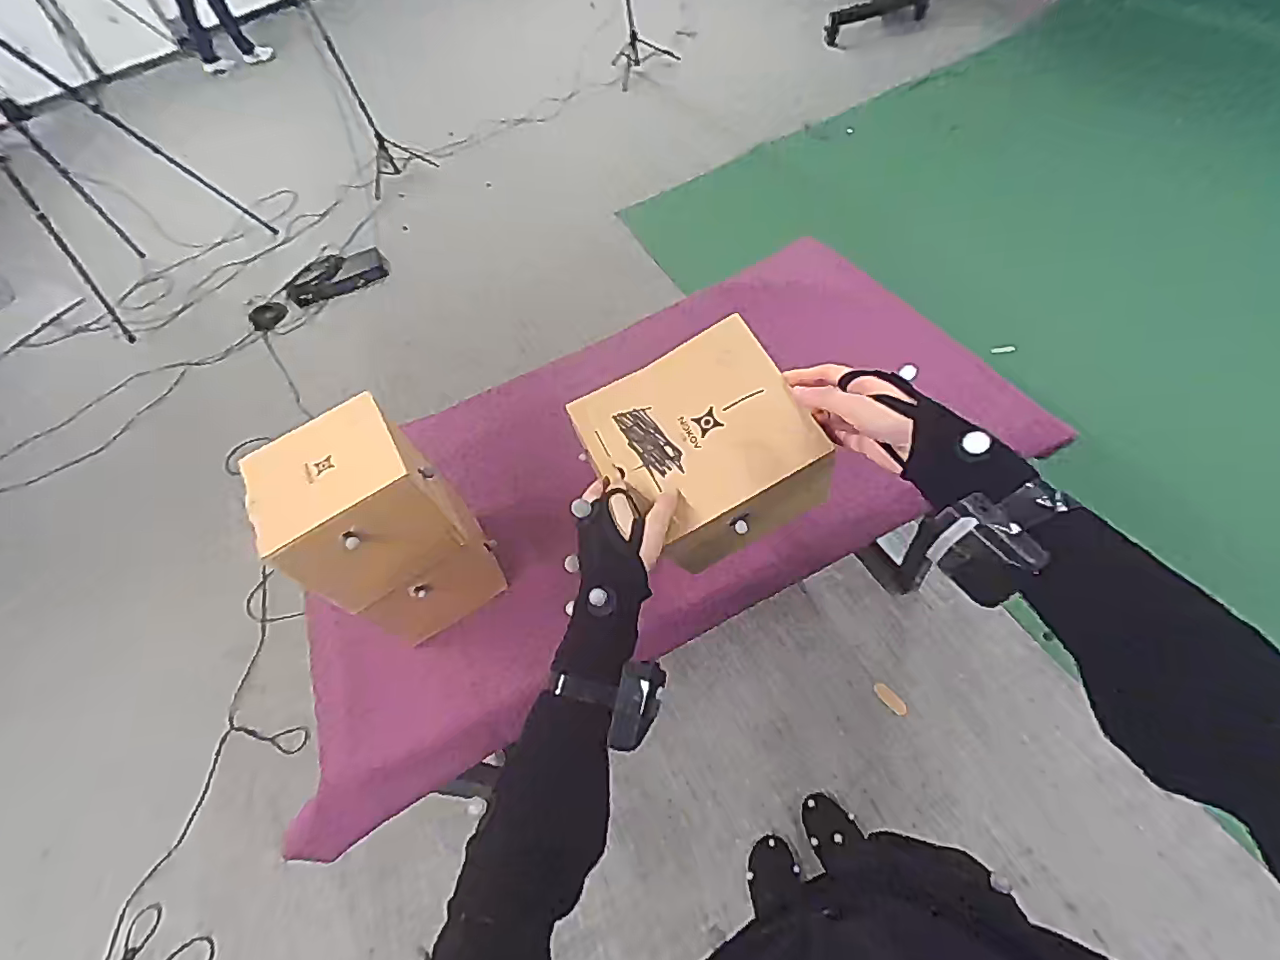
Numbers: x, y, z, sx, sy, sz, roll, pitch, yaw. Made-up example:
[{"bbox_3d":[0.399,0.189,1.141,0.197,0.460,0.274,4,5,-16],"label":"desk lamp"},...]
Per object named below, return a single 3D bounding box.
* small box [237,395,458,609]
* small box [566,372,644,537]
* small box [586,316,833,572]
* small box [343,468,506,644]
[{"bbox_3d":[-0.356,0.032,0.688,0.179,0.176,0.168,-33,57,-10],"label":"small box"},{"bbox_3d":[0.005,-0.042,0.856,0.168,0.176,0.179,-26,55,-5],"label":"small box"},{"bbox_3d":[0.076,-0.022,0.553,0.179,0.176,0.168,-30,67,5],"label":"small box"},{"bbox_3d":[-0.334,0.121,0.822,0.179,0.176,0.168,-31,56,-10],"label":"small box"}]
